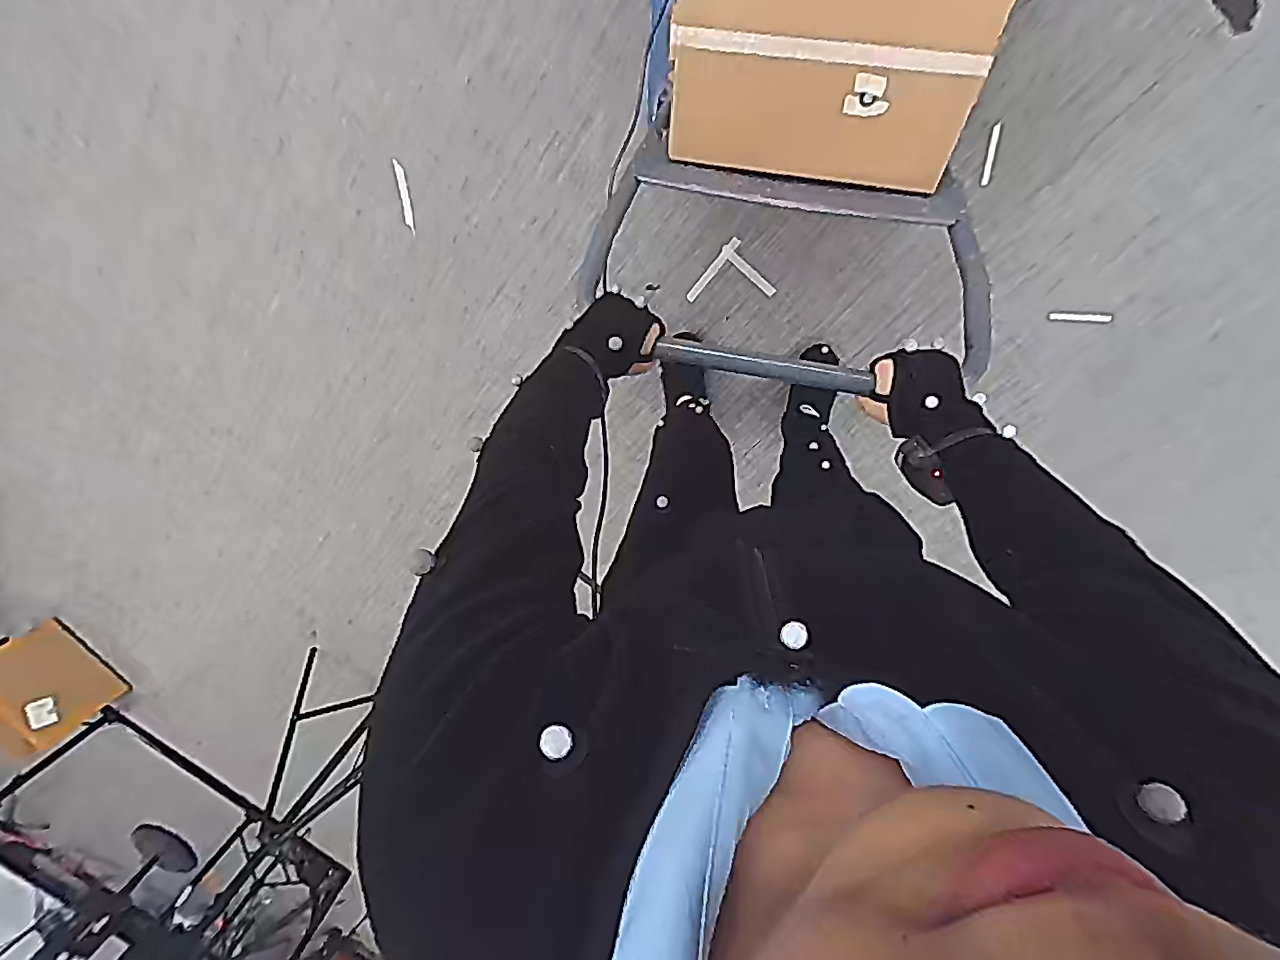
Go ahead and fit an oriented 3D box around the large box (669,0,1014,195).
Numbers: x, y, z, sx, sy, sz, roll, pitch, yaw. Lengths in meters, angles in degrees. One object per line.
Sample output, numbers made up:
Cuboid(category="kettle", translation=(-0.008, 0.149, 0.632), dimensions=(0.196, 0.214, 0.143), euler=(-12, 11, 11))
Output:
Cuboid(category="large box", translation=(0.271, -0.661, 0.801), dimensions=(0.408, 0.320, 0.320), euler=(11, 140, 6))
